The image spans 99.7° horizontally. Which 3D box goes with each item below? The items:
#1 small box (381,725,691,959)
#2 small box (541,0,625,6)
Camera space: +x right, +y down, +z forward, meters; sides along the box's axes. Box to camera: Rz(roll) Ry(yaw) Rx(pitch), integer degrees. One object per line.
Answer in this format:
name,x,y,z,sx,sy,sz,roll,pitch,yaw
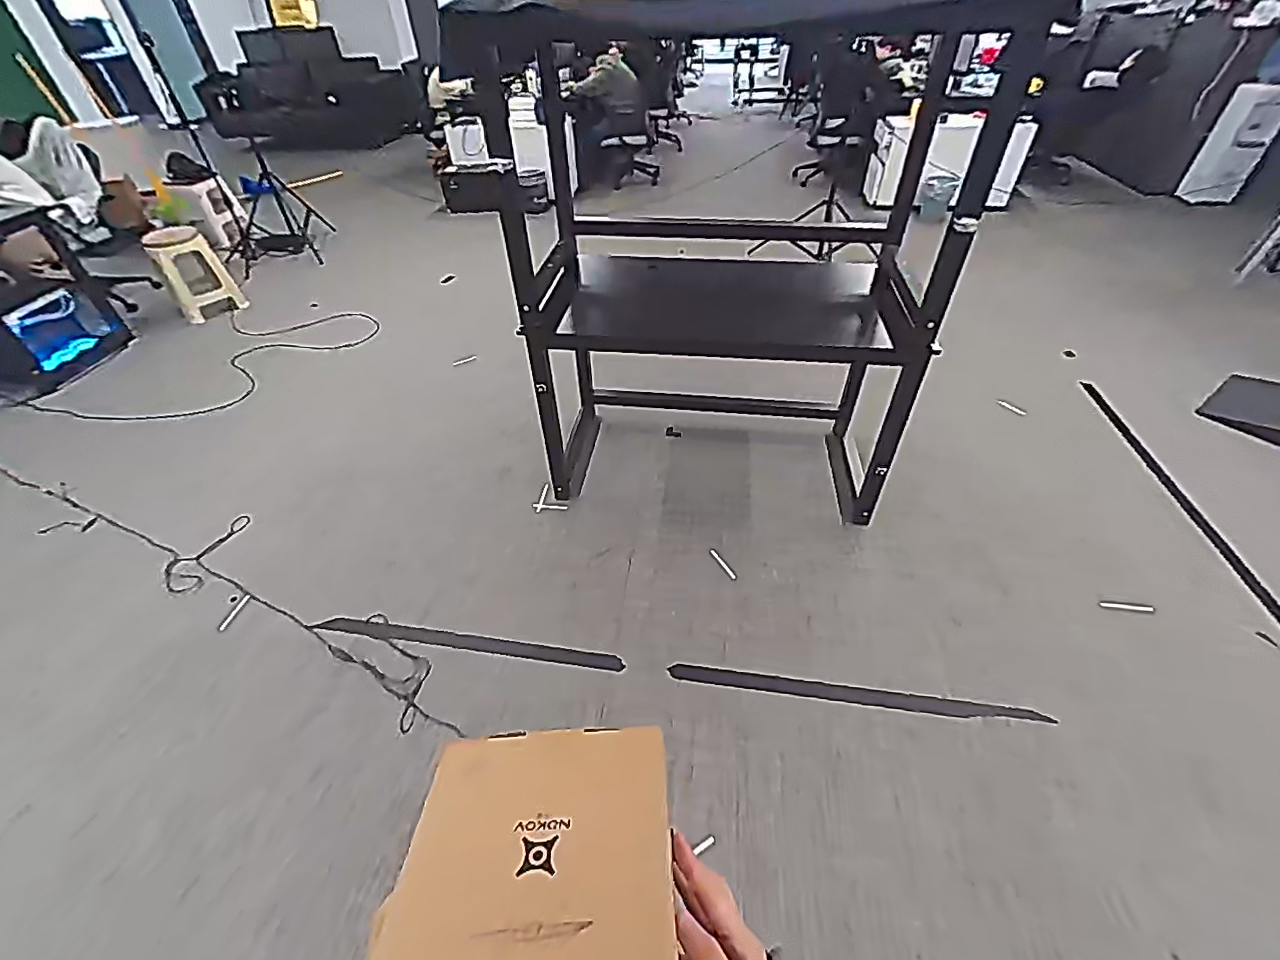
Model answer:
small box,-0.052,0.300,0.367,0.168,0.176,0.179,-5,26,0
small box,-0.121,-1.095,1.115,0.168,0.176,0.179,6,41,6
